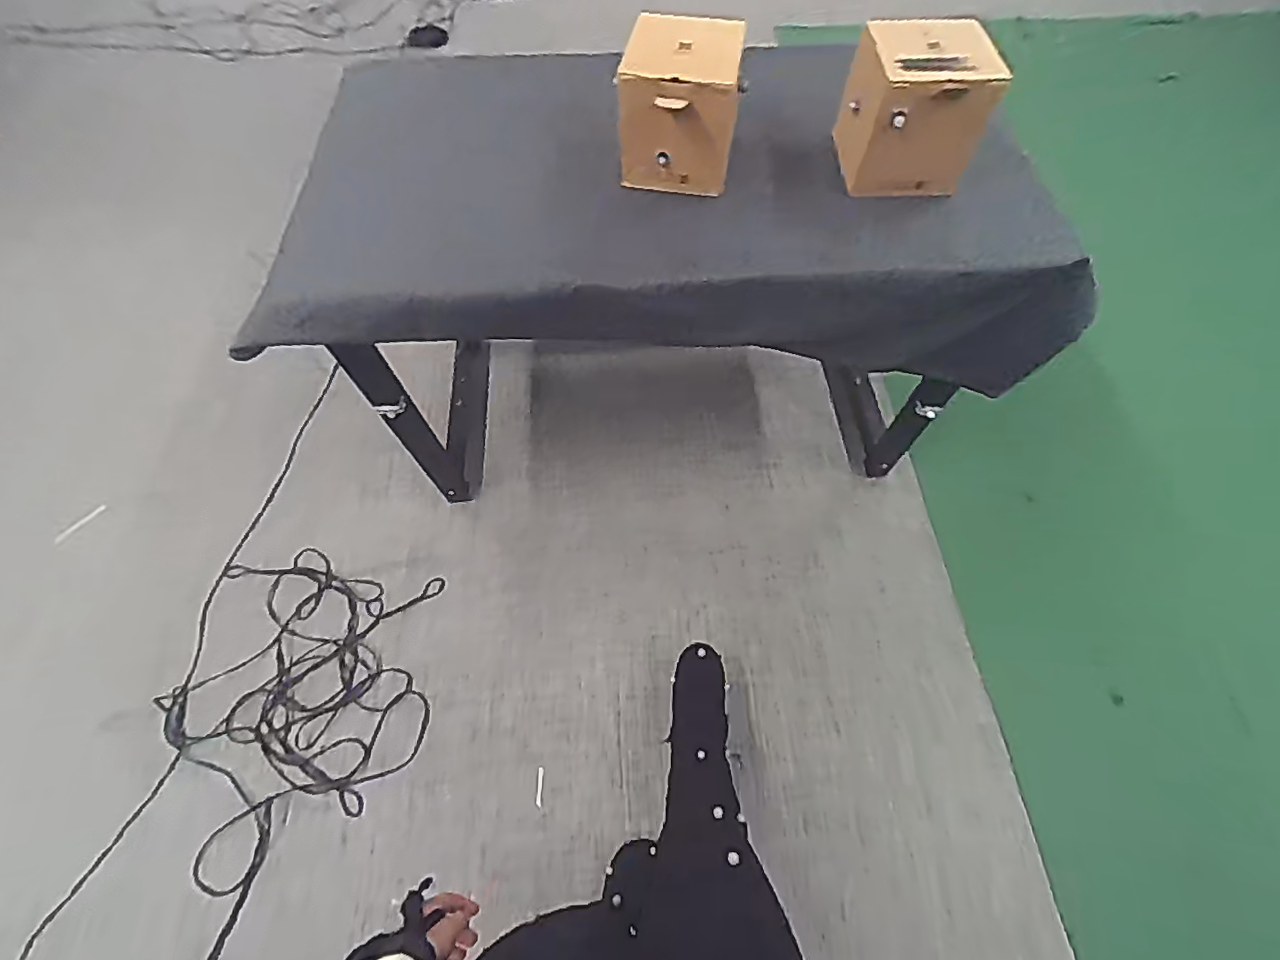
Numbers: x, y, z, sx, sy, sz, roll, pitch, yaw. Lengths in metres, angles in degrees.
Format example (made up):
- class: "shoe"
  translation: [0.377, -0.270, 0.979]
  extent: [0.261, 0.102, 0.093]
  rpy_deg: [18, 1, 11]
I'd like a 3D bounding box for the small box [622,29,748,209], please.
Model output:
- class: "small box"
  translation: [0.067, -0.568, 0.859]
  extent: [0.168, 0.176, 0.179]
  rpy_deg: [9, 63, 5]
